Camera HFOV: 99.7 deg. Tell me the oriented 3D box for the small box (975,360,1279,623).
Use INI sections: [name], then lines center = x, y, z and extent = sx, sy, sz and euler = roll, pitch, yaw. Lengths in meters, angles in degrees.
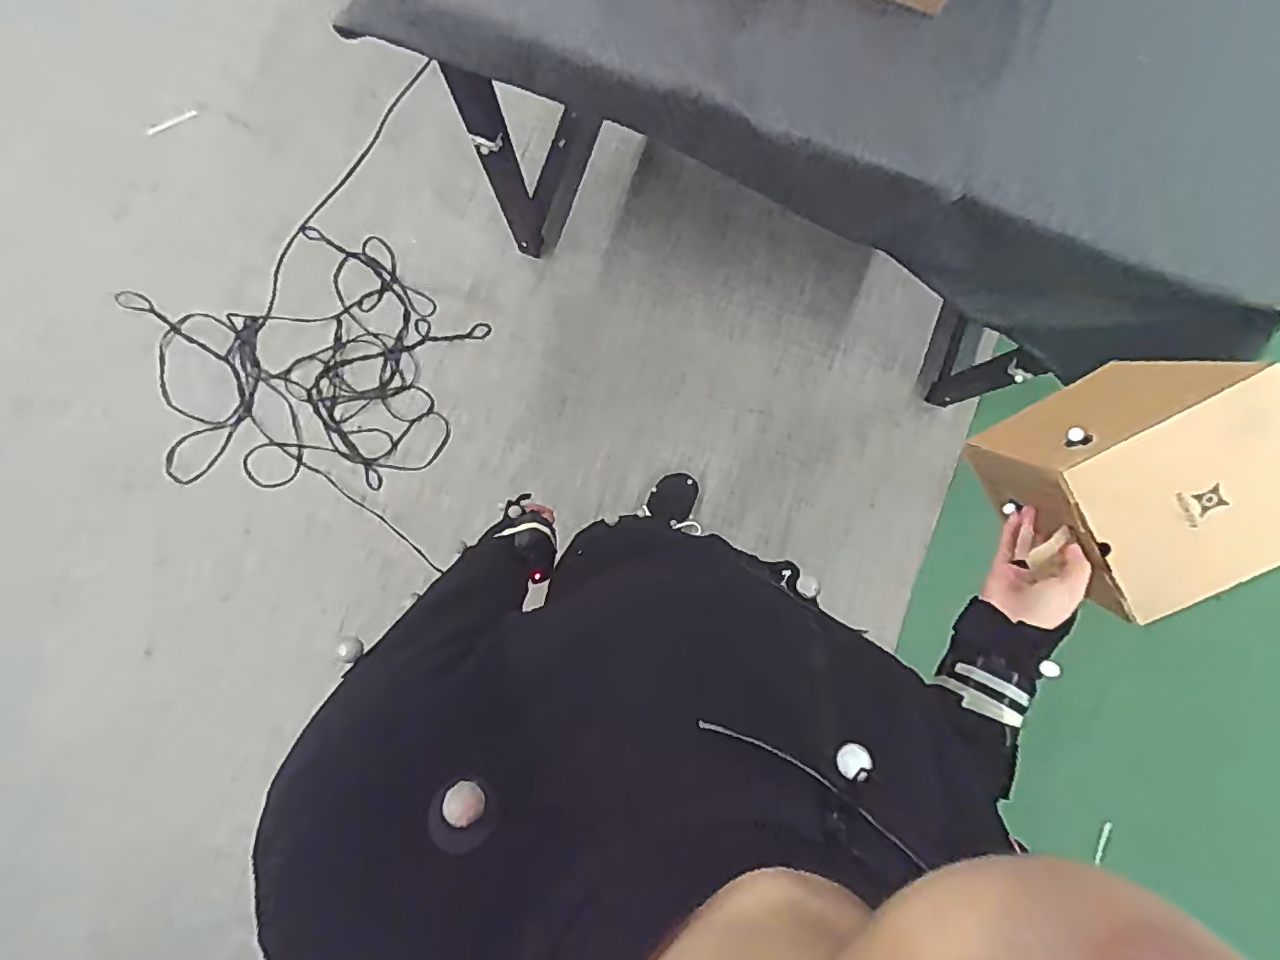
[small box]
center = 0.475, -0.003, 0.520
extent = 0.179, 0.176, 0.168
euler = -32, 98, 12
